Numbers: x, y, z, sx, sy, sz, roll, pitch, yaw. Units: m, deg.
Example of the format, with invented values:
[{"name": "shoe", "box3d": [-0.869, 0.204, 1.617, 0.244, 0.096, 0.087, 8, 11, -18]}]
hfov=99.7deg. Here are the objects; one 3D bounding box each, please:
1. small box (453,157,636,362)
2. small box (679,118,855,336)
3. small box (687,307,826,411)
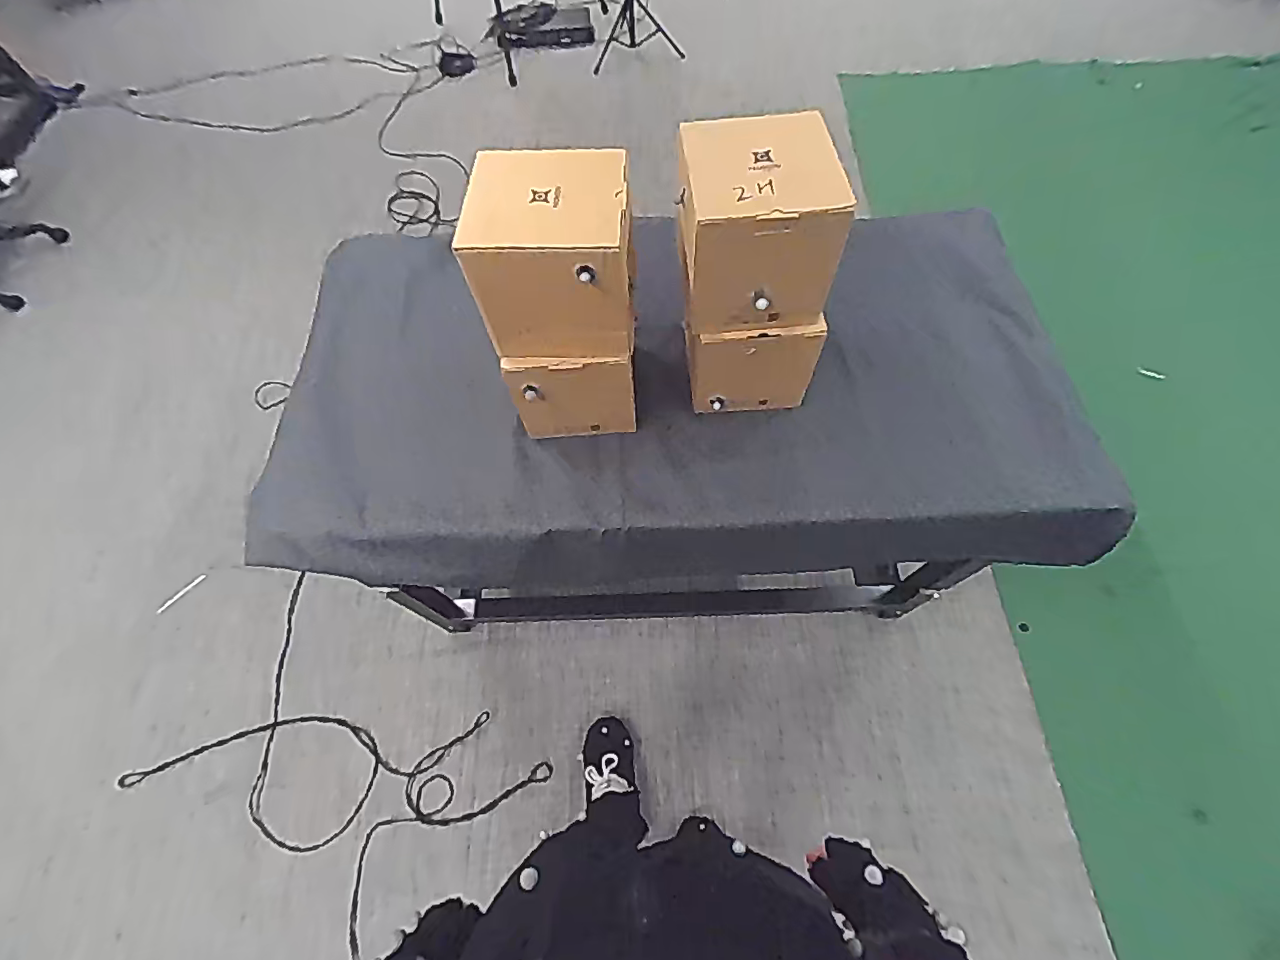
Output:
[{"name": "small box", "box3d": [-0.099, -0.258, 0.654, 0.179, 0.176, 0.168, 1, 62, 2]}, {"name": "small box", "box3d": [0.137, -0.302, 0.661, 0.168, 0.176, 0.179, -5, 63, 1]}, {"name": "small box", "box3d": [0.159, -0.214, 0.799, 0.168, 0.176, 0.179, -4, 62, 1]}]
